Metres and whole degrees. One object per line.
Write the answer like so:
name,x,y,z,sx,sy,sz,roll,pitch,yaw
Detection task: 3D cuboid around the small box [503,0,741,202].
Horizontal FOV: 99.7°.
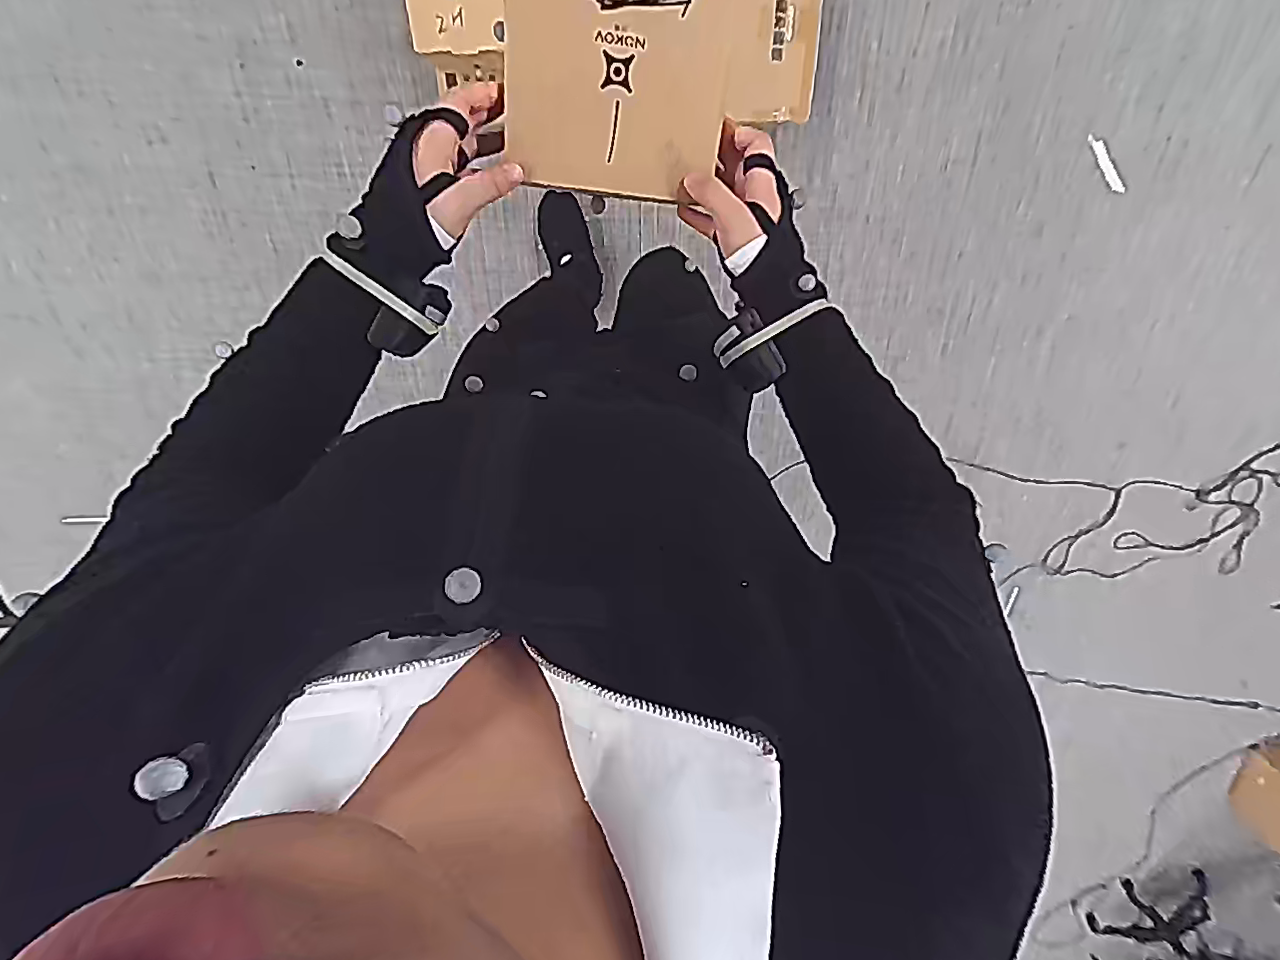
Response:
small box,-0.022,-0.345,0.460,0.168,0.176,0.179,4,118,-8

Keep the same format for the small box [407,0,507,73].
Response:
small box,-0.294,-0.821,0.922,0.168,0.176,0.179,-2,118,-2
